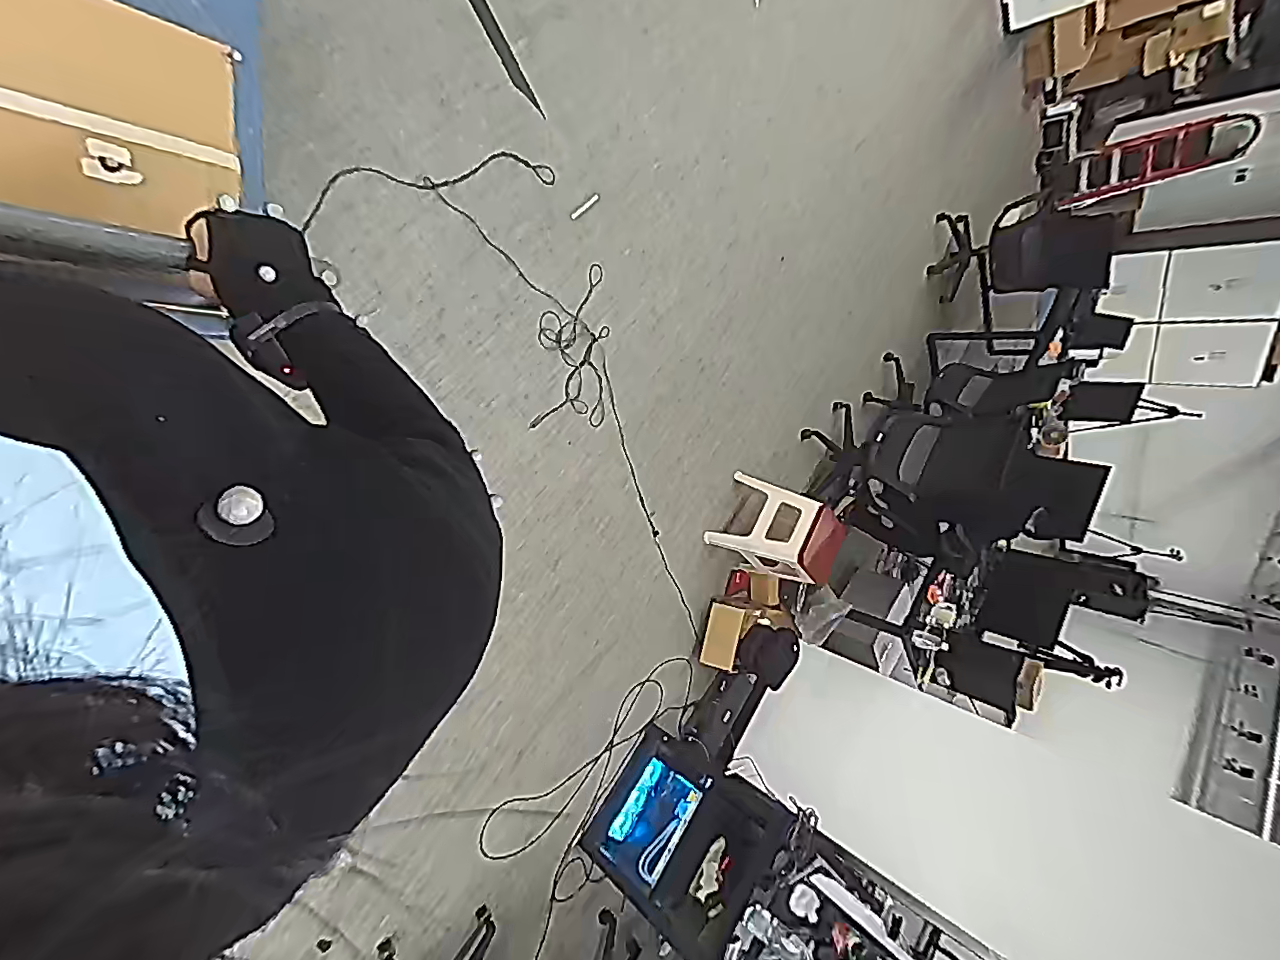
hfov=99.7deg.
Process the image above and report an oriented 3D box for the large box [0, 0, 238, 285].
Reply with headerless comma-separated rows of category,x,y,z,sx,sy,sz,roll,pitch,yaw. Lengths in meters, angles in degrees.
large box,-0.853,-0.481,0.764,0.408,0.320,0.320,-5,104,-45
